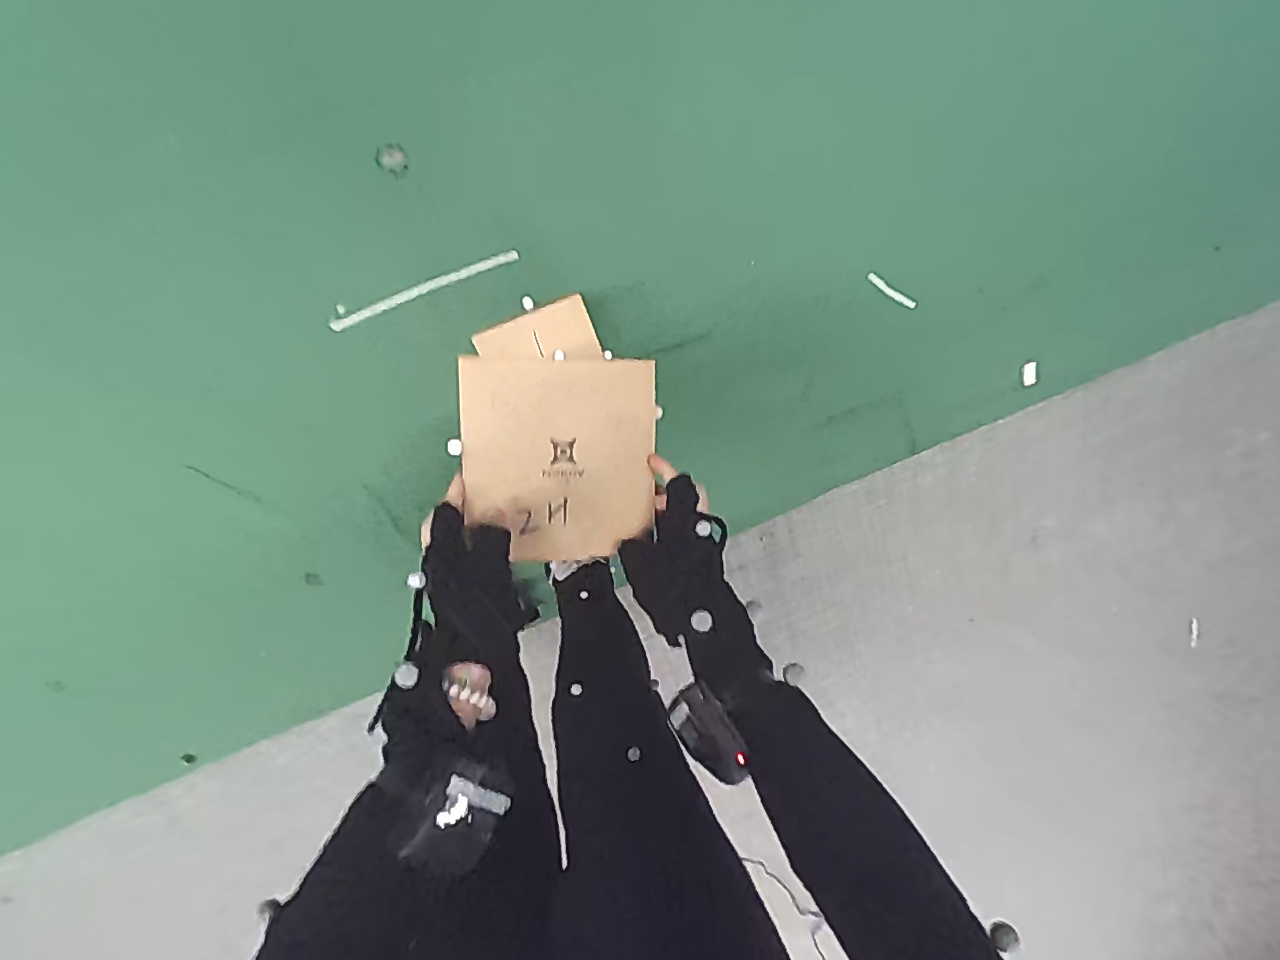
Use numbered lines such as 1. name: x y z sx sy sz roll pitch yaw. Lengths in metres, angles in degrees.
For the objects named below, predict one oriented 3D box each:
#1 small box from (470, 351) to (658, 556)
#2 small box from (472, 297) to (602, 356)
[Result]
1. small box: -0.083 -0.030 0.550 0.168 0.176 0.179 -1 98 -13
2. small box: -0.142 -0.177 0.853 0.168 0.176 0.179 -23 112 -2
